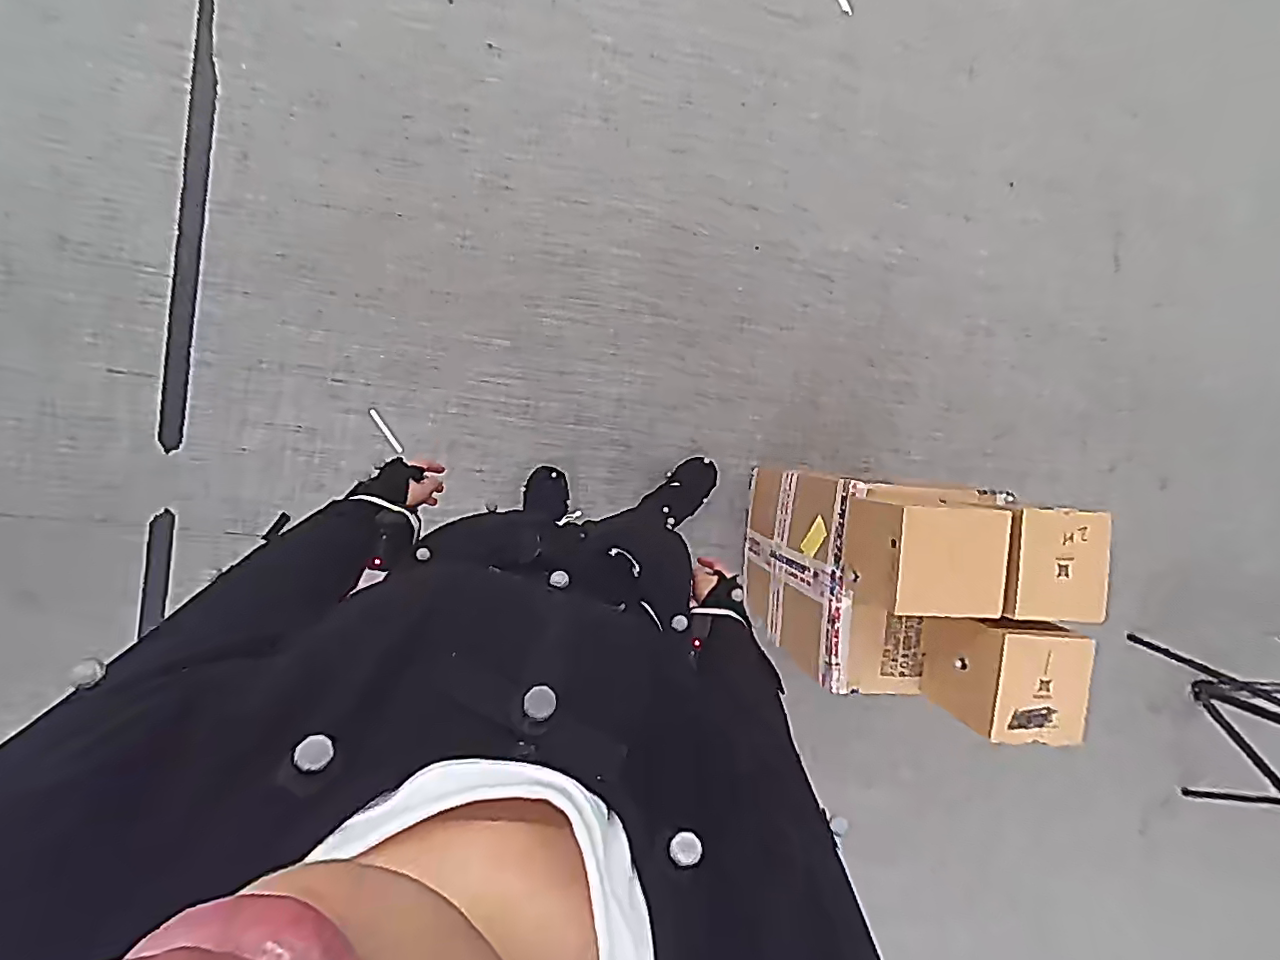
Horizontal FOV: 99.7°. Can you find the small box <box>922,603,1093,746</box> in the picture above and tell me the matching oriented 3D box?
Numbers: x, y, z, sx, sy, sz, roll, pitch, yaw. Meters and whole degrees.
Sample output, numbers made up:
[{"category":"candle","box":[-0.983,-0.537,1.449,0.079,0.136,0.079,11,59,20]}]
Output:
[{"category":"small box","box":[0.617,0.326,0.928,0.168,0.176,0.179,6,93,-8]}]
